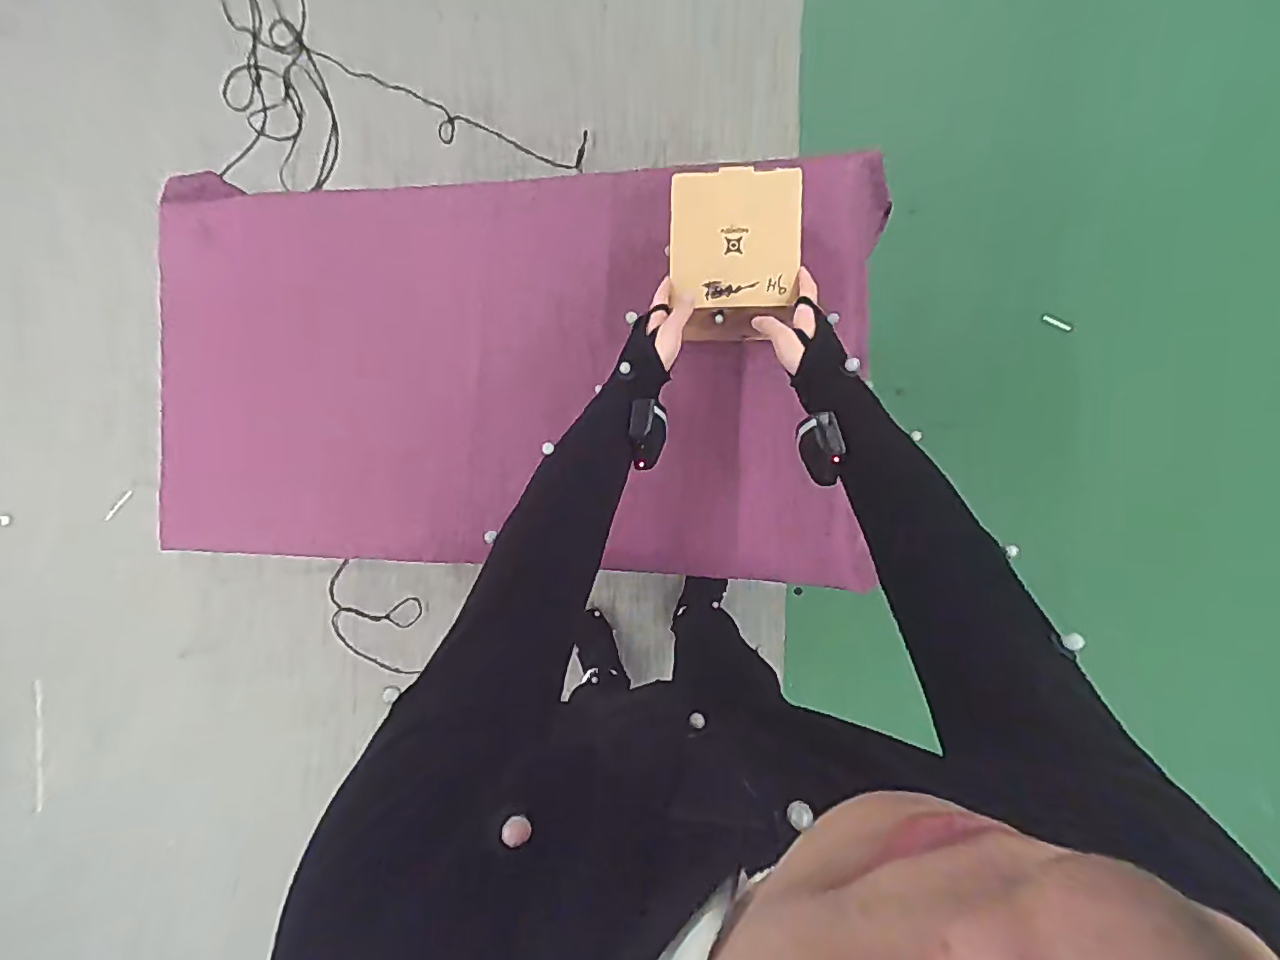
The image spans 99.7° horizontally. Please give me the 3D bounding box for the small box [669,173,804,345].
[{"bbox_3d":[0.131,-0.301,0.765,0.168,0.176,0.179,2,90,8],"label":"small box"}]
